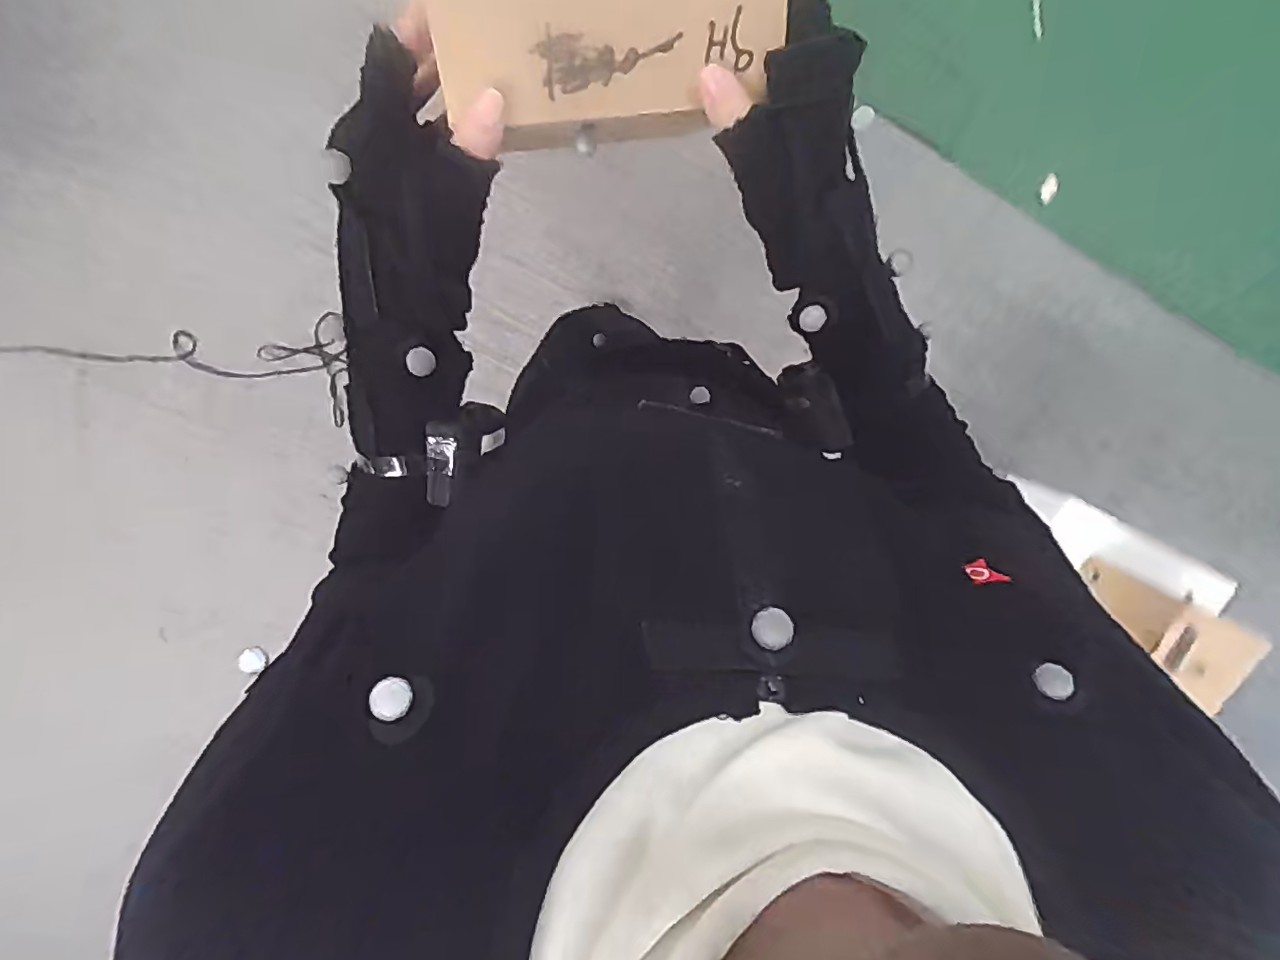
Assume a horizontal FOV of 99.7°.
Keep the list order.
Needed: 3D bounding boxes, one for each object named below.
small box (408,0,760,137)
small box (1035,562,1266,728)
[{"bbox_3d":[-0.042,-0.302,0.293,0.168,0.176,0.179,-10,119,-7],"label":"small box"},{"bbox_3d":[0.801,0.254,0.872,0.179,0.176,0.168,24,103,-11],"label":"small box"}]
